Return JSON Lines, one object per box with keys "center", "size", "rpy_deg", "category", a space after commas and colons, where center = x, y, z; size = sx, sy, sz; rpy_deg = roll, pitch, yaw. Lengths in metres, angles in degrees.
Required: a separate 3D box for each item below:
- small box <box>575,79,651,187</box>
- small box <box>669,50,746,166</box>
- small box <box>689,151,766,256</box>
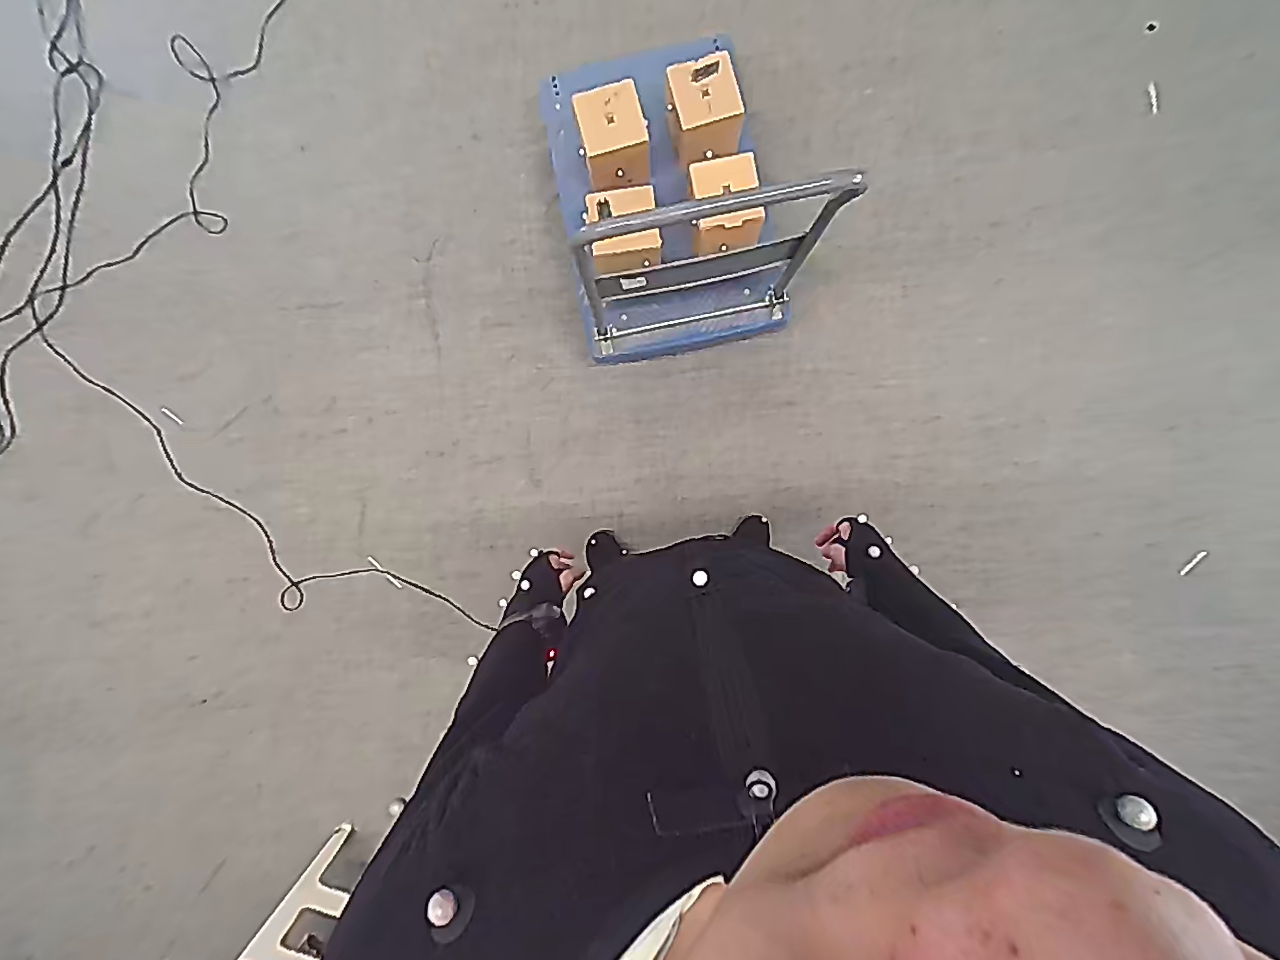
{"center": [-0.067, -0.933, 1.477], "size": [0.168, 0.176, 0.179], "rpy_deg": [-15, 86, 1], "category": "small box"}
{"center": [0.176, -1.000, 1.467], "size": [0.168, 0.176, 0.179], "rpy_deg": [-15, 87, 3], "category": "small box"}
{"center": [0.228, -0.735, 1.450], "size": [0.168, 0.176, 0.179], "rpy_deg": [-10, 86, 2], "category": "small box"}
